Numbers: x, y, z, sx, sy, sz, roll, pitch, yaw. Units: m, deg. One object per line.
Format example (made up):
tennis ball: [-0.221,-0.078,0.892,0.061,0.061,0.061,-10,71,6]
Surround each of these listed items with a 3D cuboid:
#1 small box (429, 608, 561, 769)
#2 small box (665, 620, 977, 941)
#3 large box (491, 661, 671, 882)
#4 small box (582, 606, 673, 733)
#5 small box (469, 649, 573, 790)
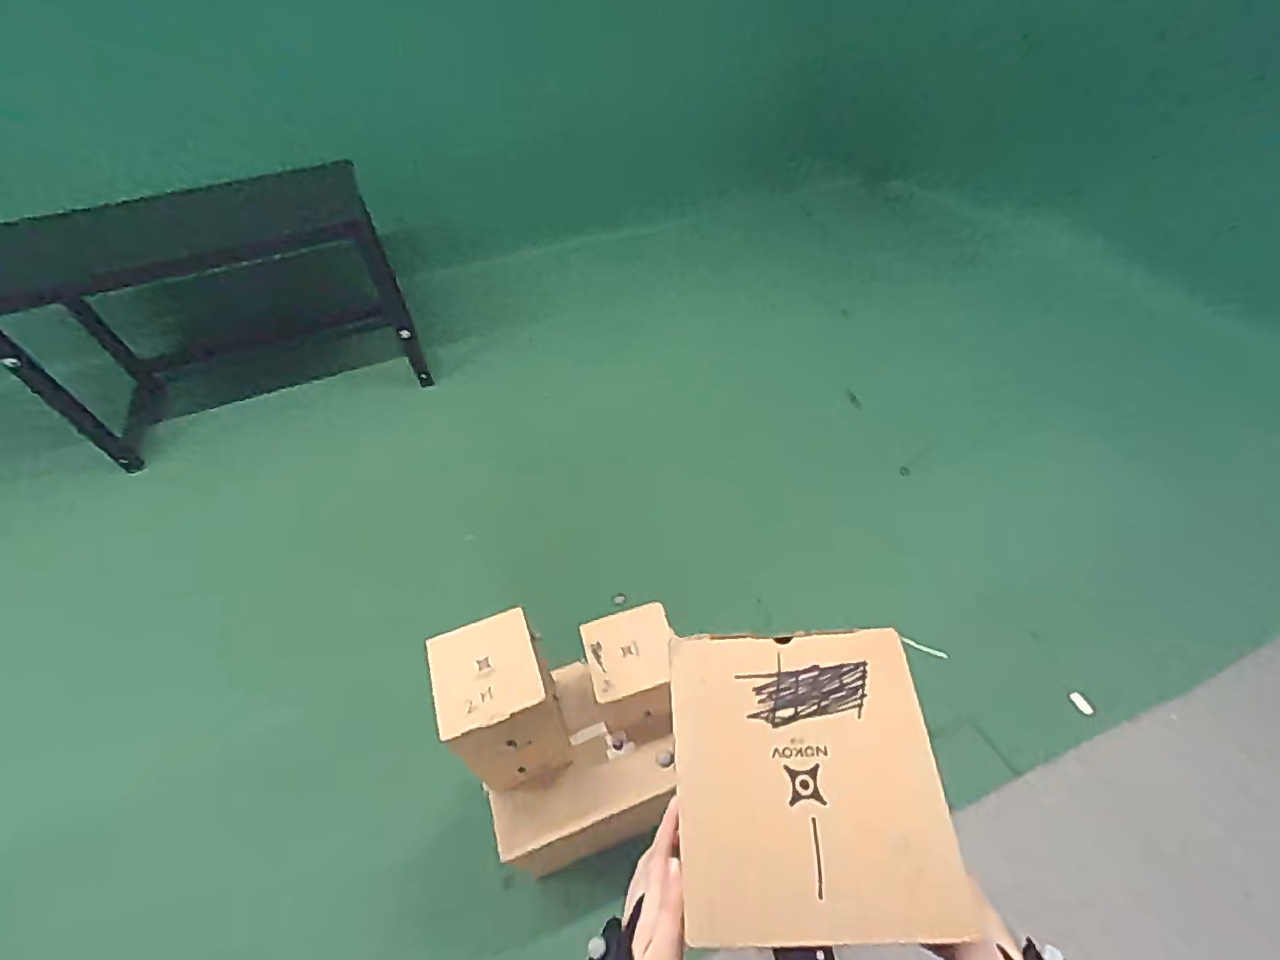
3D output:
small box: [-0.243,0.355,0.920,0.168,0.176,0.179,-18,50,-12]
small box: [0.104,0.219,0.407,0.168,0.176,0.179,-4,59,3]
large box: [-0.106,0.627,1.214,0.408,0.320,0.320,-17,50,-12]
small box: [-0.006,0.385,1.093,0.179,0.176,0.168,-15,49,-7]
small box: [-0.237,0.464,1.045,0.168,0.176,0.179,-17,50,-11]
